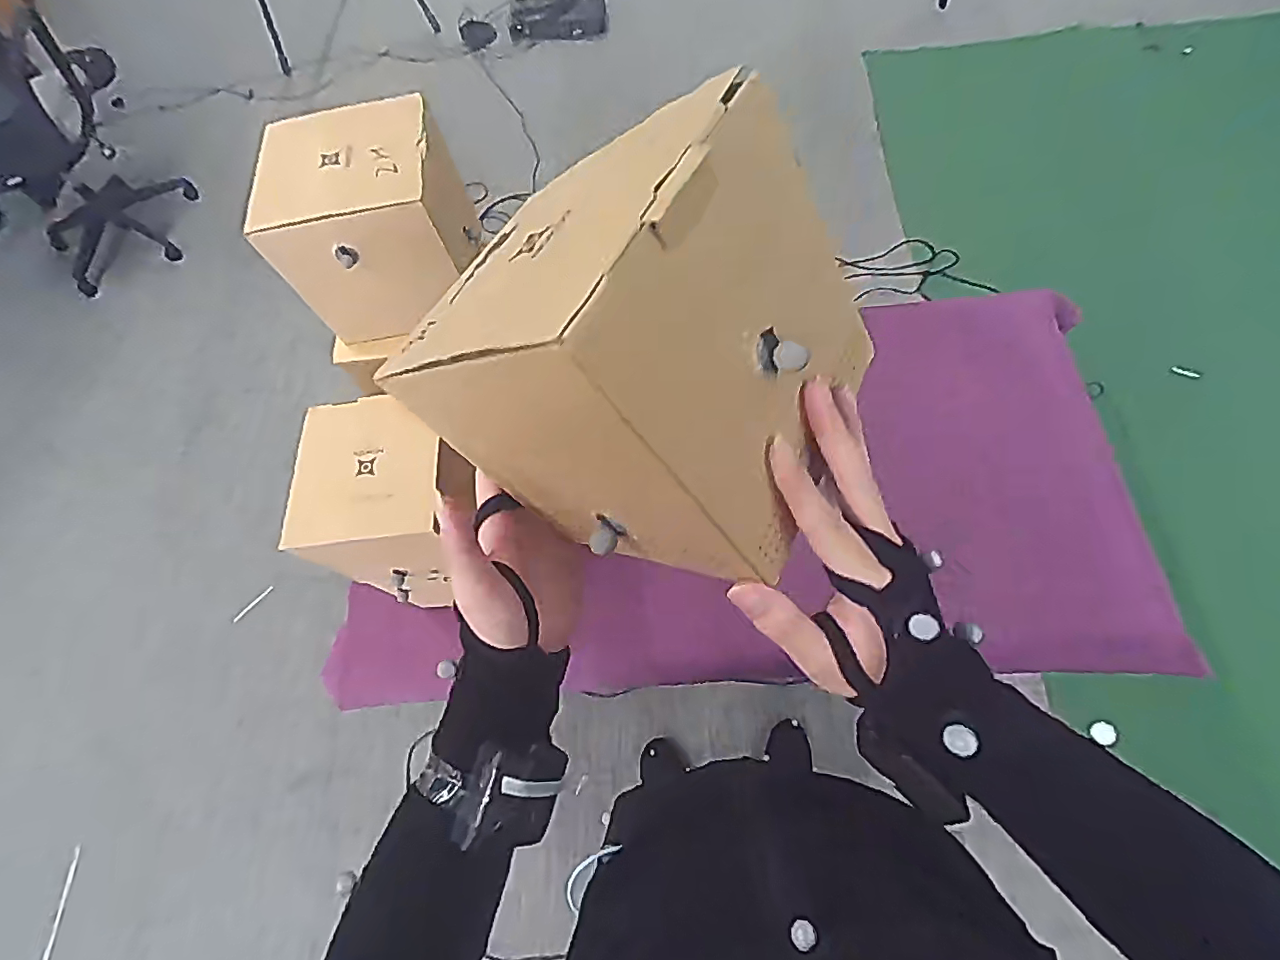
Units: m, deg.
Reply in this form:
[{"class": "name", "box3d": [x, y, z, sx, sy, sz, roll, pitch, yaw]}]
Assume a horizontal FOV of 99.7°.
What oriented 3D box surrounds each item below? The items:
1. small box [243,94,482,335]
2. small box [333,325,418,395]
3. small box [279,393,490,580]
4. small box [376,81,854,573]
[{"class": "small box", "box3d": [-0.293, -0.287, 0.611, 0.179, 0.176, 0.168, -10, 66, 1]}, {"class": "small box", "box3d": [-0.289, -0.197, 0.752, 0.168, 0.176, 0.179, -7, 66, 2]}, {"class": "small box", "box3d": [-0.291, 0.011, 0.661, 0.168, 0.176, 0.179, -6, 66, 3]}, {"class": "small box", "box3d": [-0.003, -0.065, 0.310, 0.179, 0.176, 0.168, 7, 59, 46]}]
